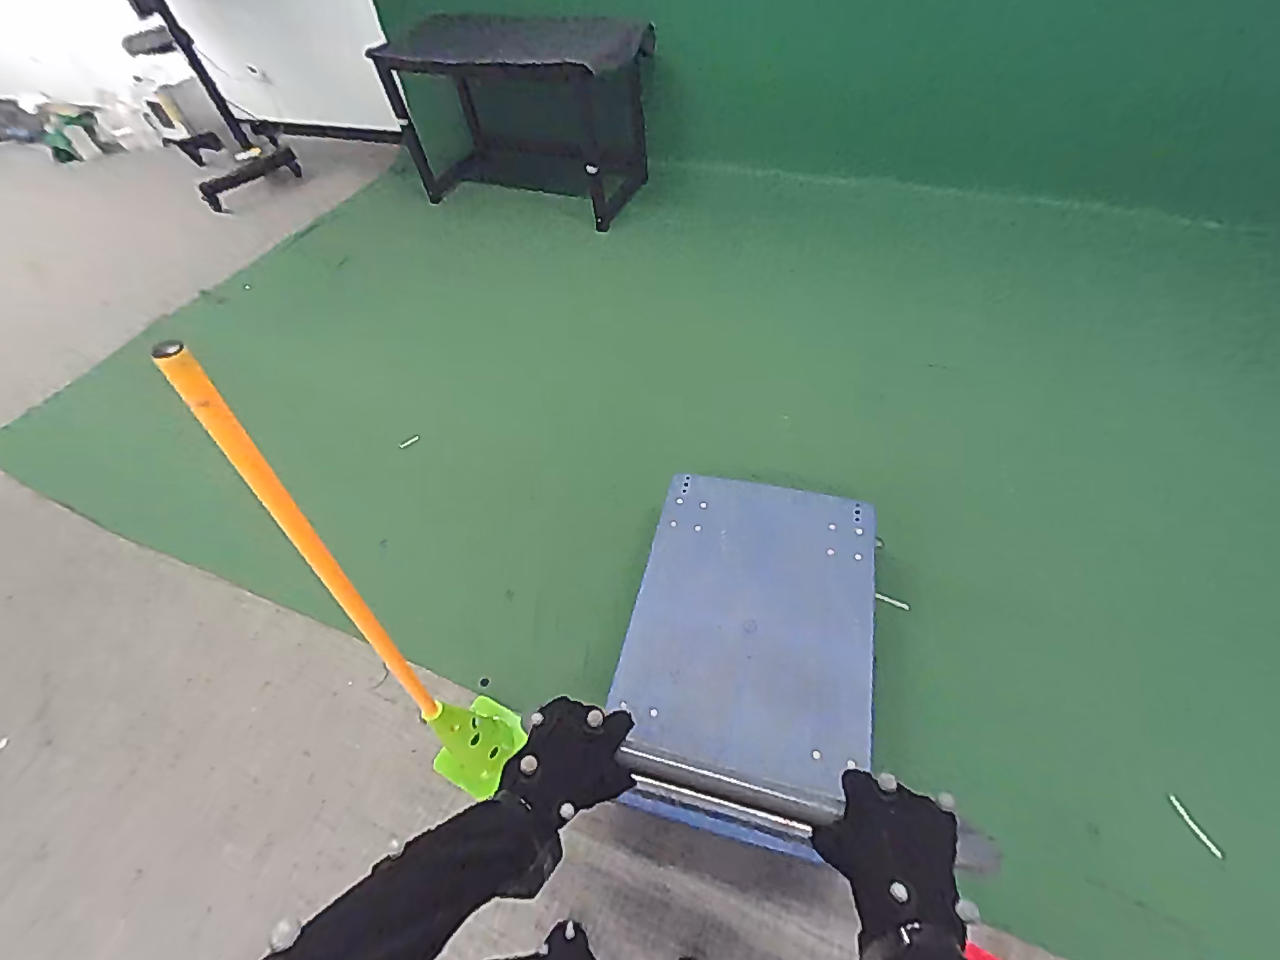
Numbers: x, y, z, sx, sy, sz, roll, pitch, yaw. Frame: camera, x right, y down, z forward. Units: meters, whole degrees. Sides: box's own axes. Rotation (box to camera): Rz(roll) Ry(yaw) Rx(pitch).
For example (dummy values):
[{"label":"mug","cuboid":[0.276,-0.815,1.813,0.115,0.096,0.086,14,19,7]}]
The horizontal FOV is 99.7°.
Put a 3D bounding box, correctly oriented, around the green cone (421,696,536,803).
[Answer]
[{"label":"green cone","cuboid":[-0.403,0.566,1.231,0.202,0.368,0.200,20,56,21]}]
